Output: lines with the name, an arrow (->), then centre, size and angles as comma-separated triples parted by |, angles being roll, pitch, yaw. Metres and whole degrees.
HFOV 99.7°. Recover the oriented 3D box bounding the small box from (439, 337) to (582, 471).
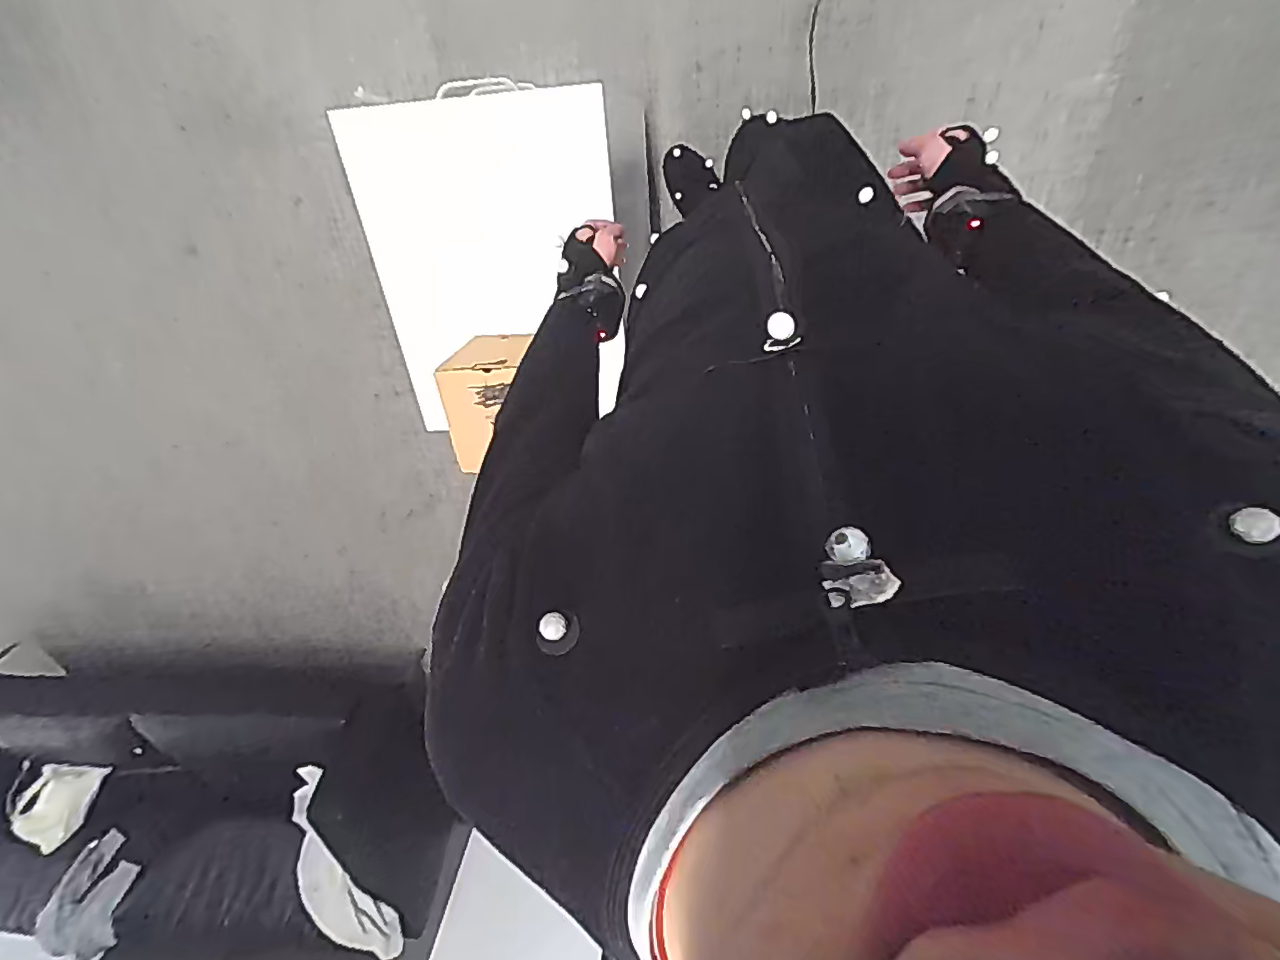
small box -> -0.199, -0.130, 0.887 | 0.168, 0.176, 0.179 | 0, 123, 8
